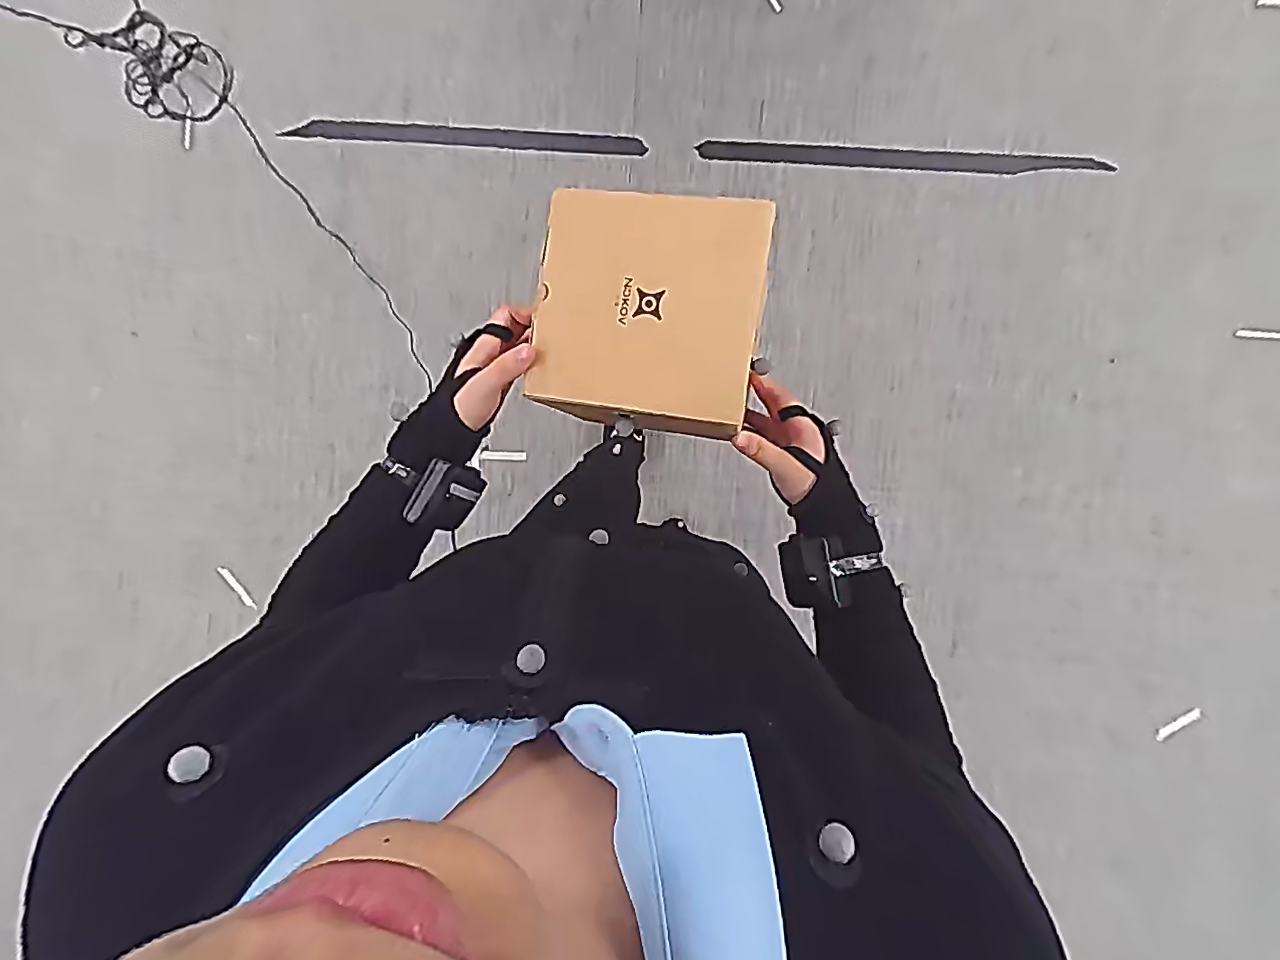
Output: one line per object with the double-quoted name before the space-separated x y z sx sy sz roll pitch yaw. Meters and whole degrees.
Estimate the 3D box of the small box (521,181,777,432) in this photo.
"small box" 0.018 -0.138 0.485 0.179 0.176 0.168 9 91 12

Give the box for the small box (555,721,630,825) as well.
"small box" -0.120 0.767 1.435 0.168 0.176 0.179 7 93 4
